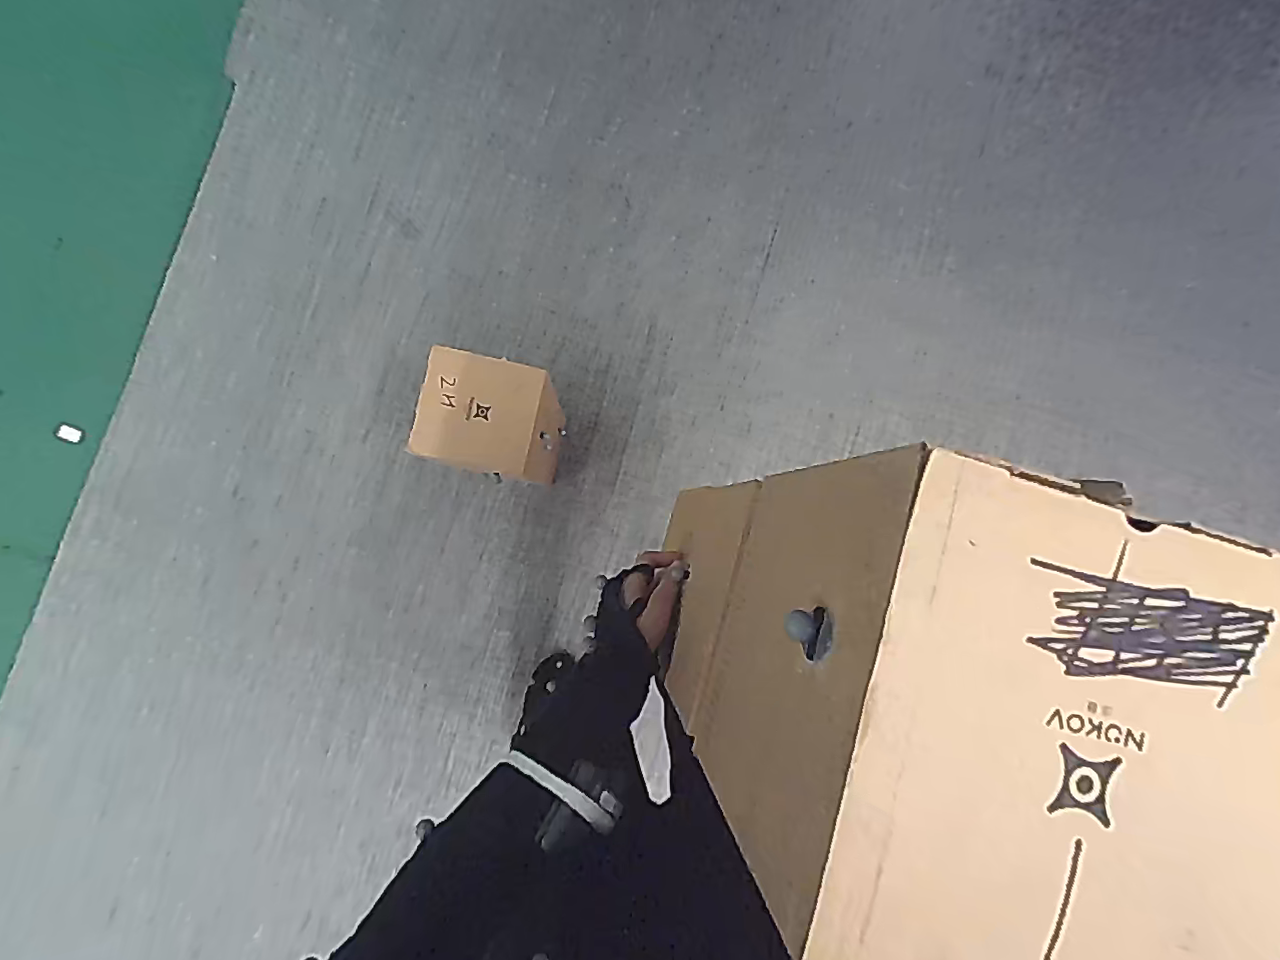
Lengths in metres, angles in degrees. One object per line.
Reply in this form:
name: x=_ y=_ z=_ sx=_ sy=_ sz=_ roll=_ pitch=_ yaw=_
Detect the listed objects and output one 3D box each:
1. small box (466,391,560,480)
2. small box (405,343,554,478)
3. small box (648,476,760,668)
small box: x=-0.261 y=-0.097 z=1.040 sx=0.179 sy=0.176 sz=0.168 roll=12 pitch=87 yaw=-2
small box: x=-0.245 y=-0.101 z=0.876 sx=0.179 sy=0.176 sz=0.168 roll=13 pitch=85 yaw=-2
small box: x=0.111 y=0.106 z=0.597 sx=0.168 sy=0.176 sz=0.179 roll=17 pitch=85 yaw=-4
